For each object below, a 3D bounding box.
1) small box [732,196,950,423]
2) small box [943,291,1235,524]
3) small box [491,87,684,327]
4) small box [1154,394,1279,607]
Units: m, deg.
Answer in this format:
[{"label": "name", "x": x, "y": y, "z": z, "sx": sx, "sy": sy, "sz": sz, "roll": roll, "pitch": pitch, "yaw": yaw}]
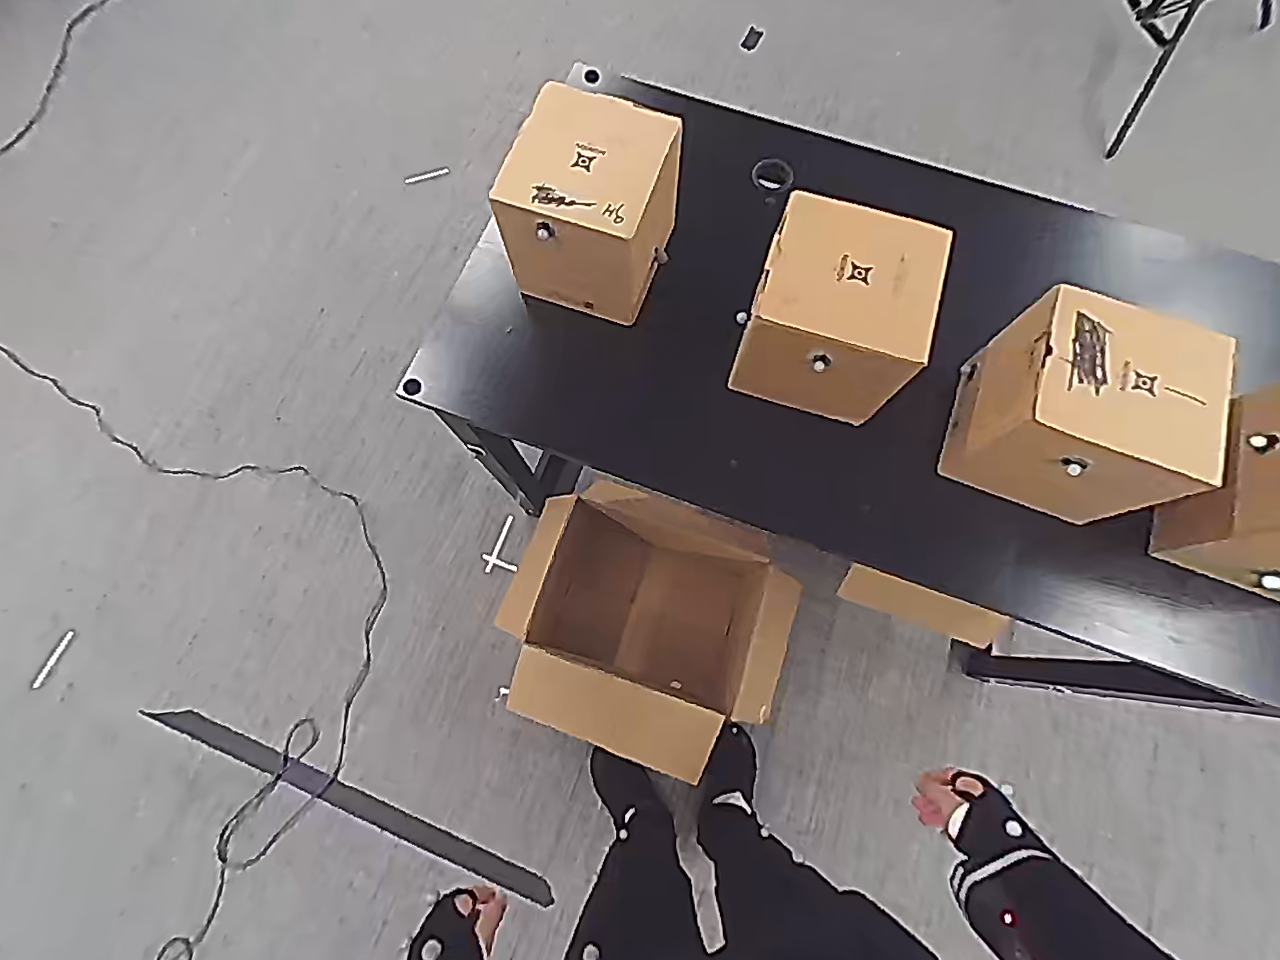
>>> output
[{"label": "small box", "x": 0.218, "y": -0.184, "z": 0.628, "sx": 0.179, "sy": 0.176, "sz": 0.168, "roll": 17, "pitch": 75, "yaw": 4}, {"label": "small box", "x": 0.470, "y": -0.067, "z": 0.591, "sx": 0.179, "sy": 0.176, "sz": 0.168, "roll": 22, "pitch": 74, "yaw": 6}, {"label": "small box", "x": -0.057, "y": -0.324, "z": 0.666, "sx": 0.168, "sy": 0.176, "sz": 0.179, "roll": 19, "pitch": 74, "yaw": 5}, {"label": "small box", "x": 0.697, "y": 0.020, "z": 0.565, "sx": 0.168, "sy": 0.176, "sz": 0.179, "roll": 21, "pitch": 74, "yaw": 7}]
